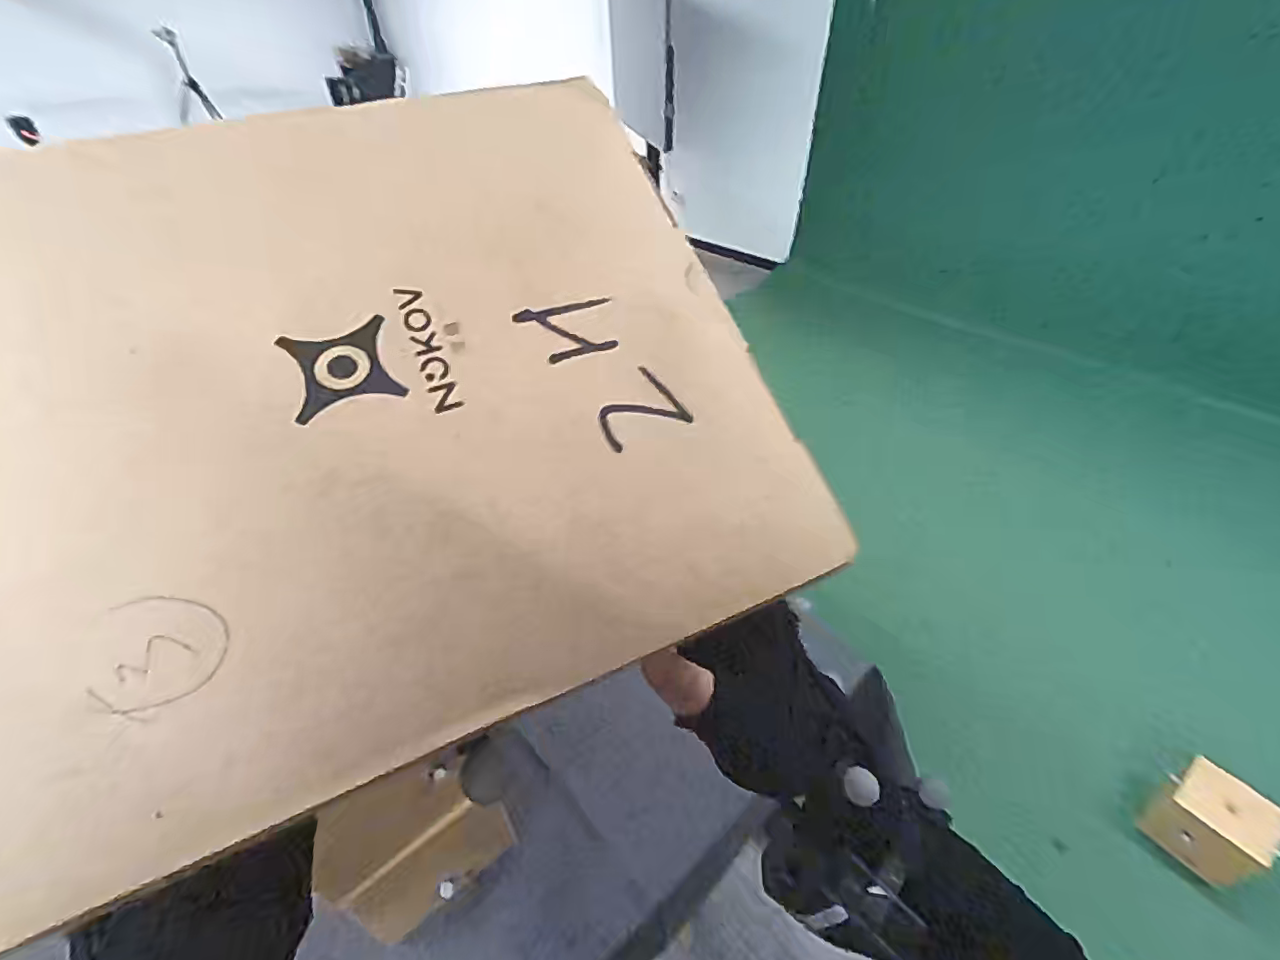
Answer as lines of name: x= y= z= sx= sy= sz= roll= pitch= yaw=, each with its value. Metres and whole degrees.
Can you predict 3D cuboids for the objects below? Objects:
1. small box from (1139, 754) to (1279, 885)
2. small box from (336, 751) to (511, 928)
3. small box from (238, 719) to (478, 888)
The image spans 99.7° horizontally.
small box: x=1.333 y=0.799 z=1.271 sx=0.179 sy=0.176 sz=0.168 roll=-25 pitch=45 yaw=-27
small box: x=-0.276 y=0.380 z=0.649 sx=0.168 sy=0.176 sz=0.179 roll=-29 pitch=47 yaw=-30
small box: x=-0.282 y=0.253 z=0.546 sx=0.179 sy=0.176 sz=0.168 roll=-31 pitch=47 yaw=-32
